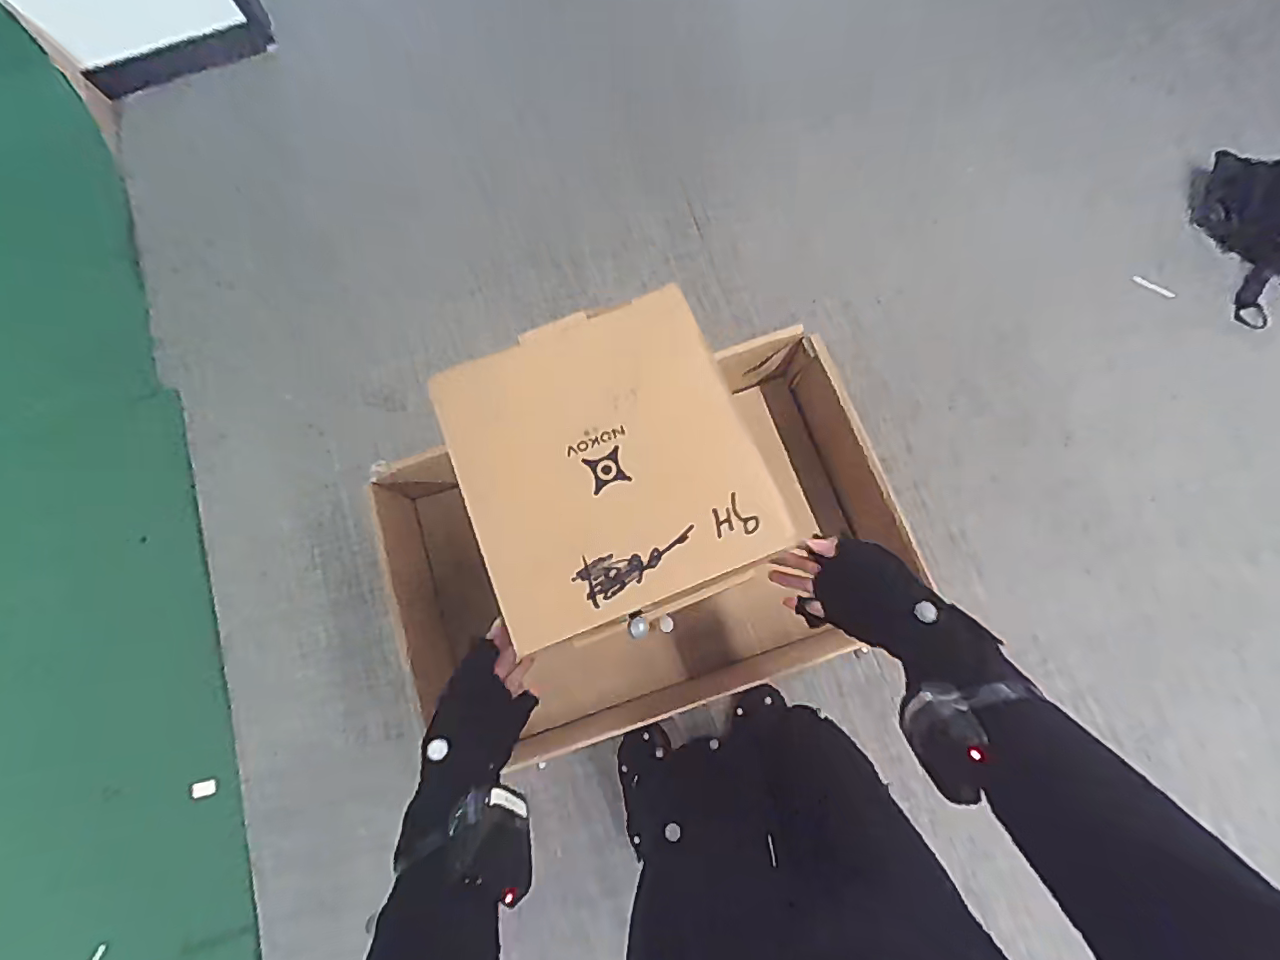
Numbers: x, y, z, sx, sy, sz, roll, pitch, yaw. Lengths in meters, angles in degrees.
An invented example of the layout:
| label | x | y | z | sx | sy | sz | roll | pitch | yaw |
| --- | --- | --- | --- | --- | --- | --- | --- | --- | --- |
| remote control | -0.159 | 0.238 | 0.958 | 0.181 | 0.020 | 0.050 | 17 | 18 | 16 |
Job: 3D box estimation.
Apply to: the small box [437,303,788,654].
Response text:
| label | x | y | z | sx | sy | sz | roll | pitch | yaw |
| --- | --- | --- | --- | --- | --- | --- | --- | --- | --- |
| small box | -0.018 | 0.012 | 0.394 | 0.168 | 0.176 | 0.179 | -22 | 75 | -1 |
